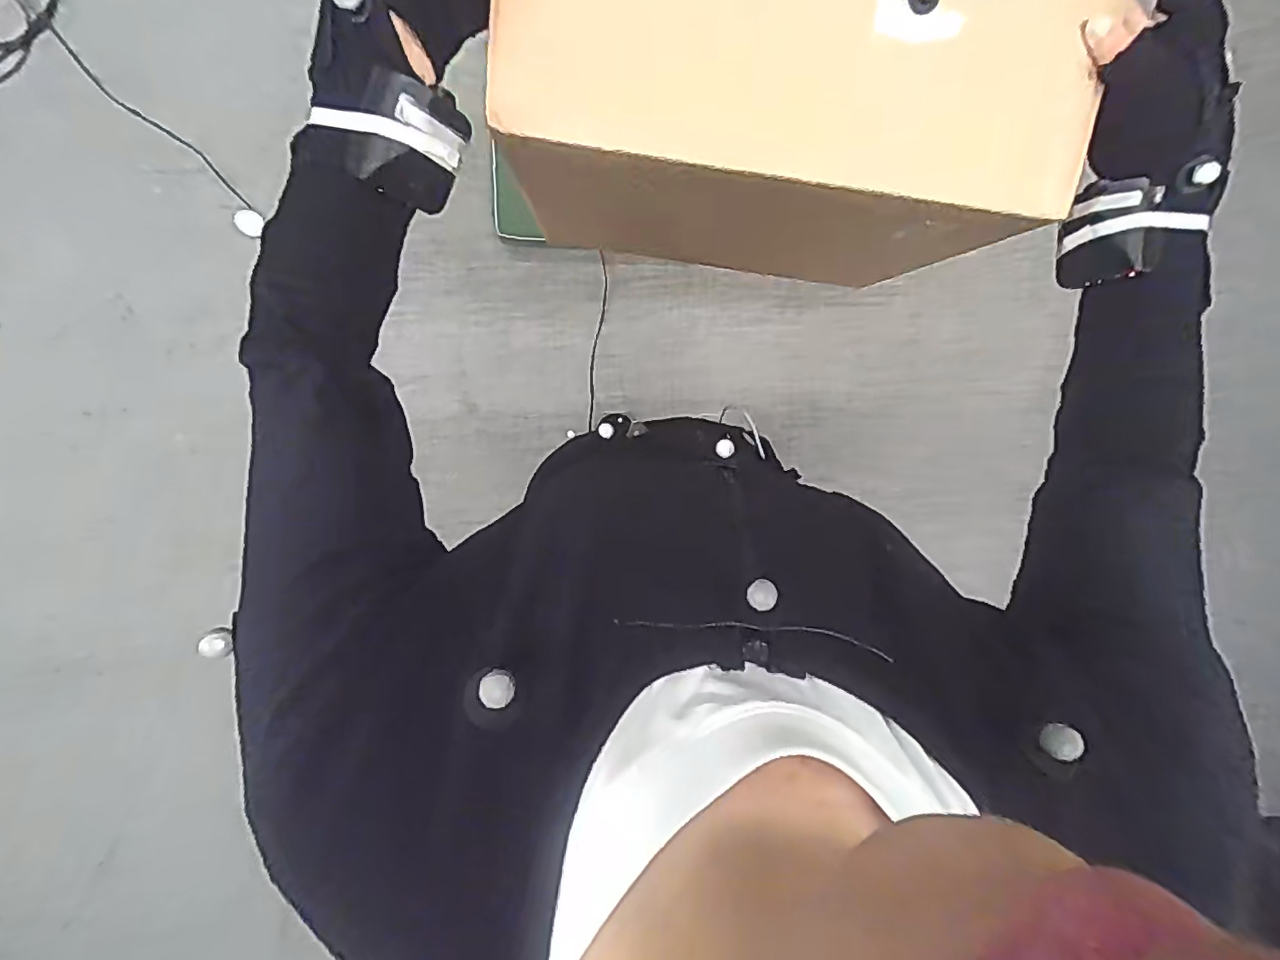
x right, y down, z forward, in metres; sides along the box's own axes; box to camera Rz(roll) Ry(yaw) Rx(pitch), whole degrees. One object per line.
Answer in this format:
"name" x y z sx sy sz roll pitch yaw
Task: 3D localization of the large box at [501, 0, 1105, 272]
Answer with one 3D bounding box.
"large box" 0.107 -0.396 0.488 0.408 0.320 0.320 6 101 -5
